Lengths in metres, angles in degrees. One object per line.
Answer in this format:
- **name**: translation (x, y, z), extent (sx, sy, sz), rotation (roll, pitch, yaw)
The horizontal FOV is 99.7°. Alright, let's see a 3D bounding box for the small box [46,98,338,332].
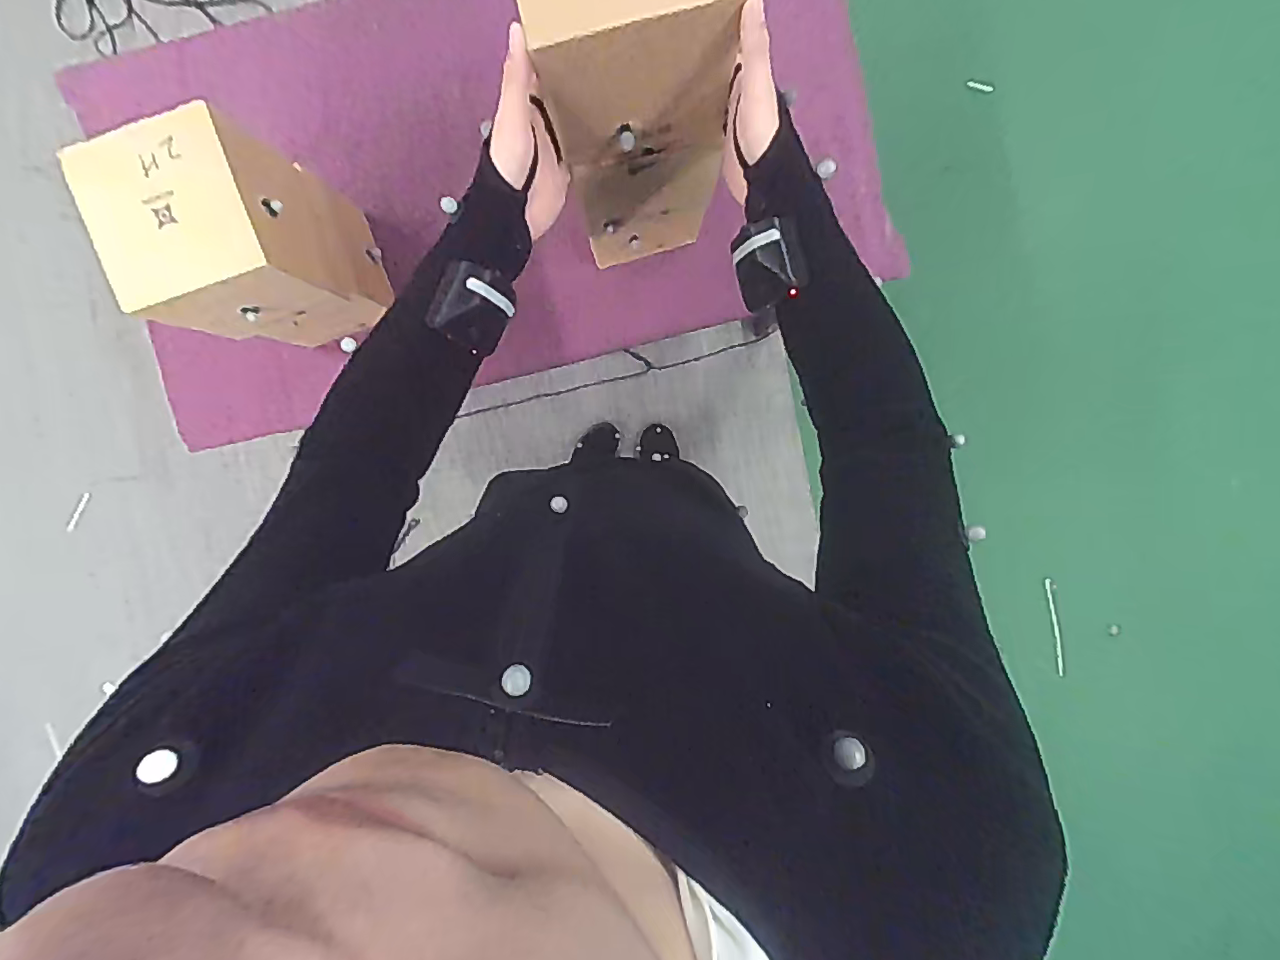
- **small box**: translation (-0.489, -0.281, 0.624), extent (0.168, 0.176, 0.179), rotation (-18, 95, 1)

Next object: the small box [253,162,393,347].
- **small box**: translation (-0.496, -0.313, 0.787), extent (0.168, 0.176, 0.179), rotation (-19, 95, 2)

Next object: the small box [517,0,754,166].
- **small box**: translation (-0.015, -0.405, 0.450), extent (0.168, 0.176, 0.179), rotation (-12, 93, 2)

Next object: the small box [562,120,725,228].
- **small box**: translation (-0.010, -0.410, 0.614), extent (0.168, 0.176, 0.179), rotation (-13, 93, 1)

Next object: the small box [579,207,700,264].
- **small box**: translation (-0.012, -0.431, 0.778), extent (0.168, 0.176, 0.179), rotation (-15, 94, 2)
